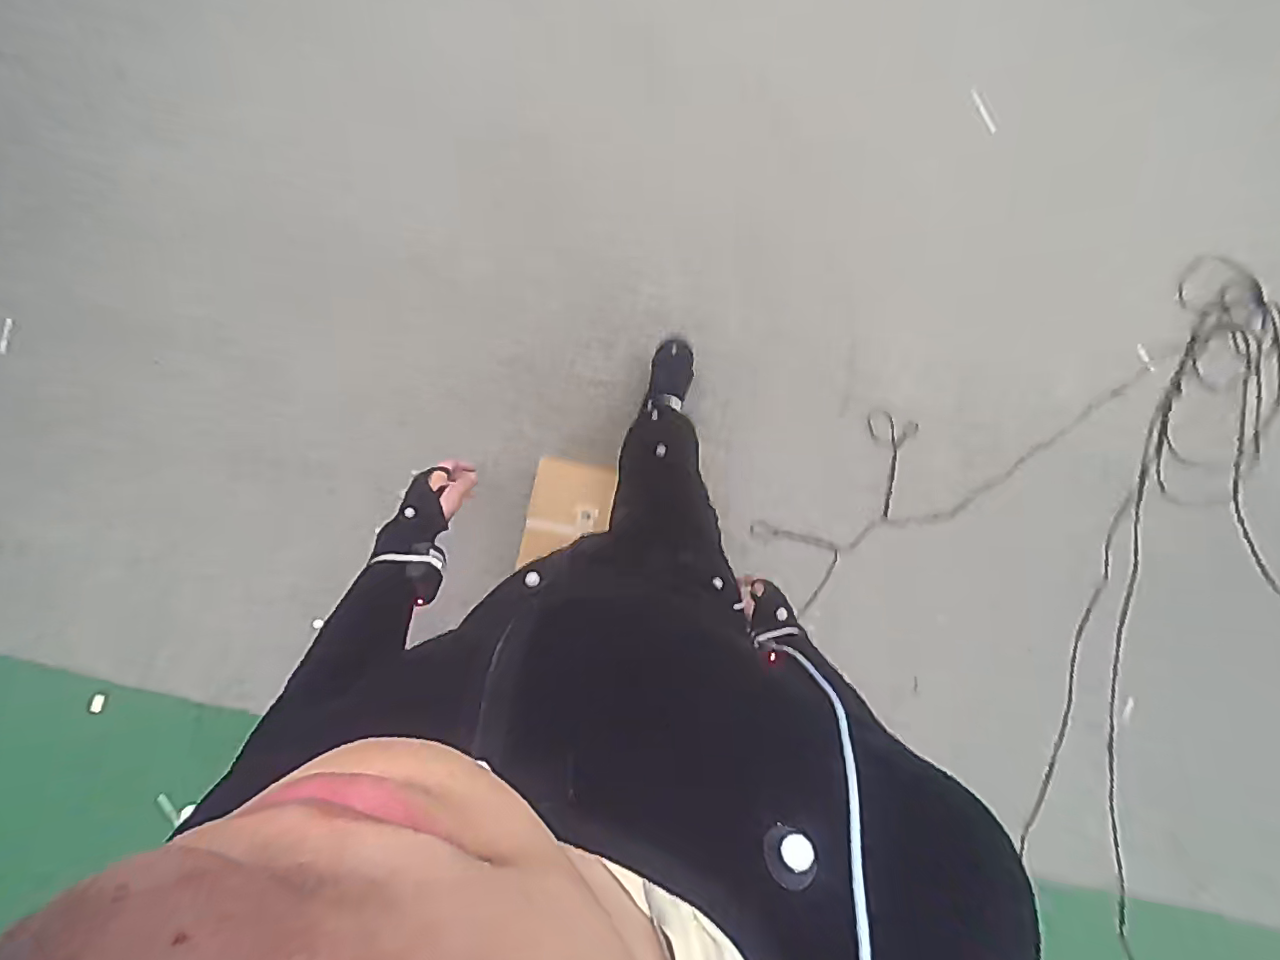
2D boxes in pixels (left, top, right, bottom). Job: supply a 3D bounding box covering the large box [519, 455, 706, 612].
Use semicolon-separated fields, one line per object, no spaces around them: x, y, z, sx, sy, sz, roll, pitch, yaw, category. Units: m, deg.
-0.068;0.125;1.440;0.408;0.320;0.320;13;92;-3;large box
